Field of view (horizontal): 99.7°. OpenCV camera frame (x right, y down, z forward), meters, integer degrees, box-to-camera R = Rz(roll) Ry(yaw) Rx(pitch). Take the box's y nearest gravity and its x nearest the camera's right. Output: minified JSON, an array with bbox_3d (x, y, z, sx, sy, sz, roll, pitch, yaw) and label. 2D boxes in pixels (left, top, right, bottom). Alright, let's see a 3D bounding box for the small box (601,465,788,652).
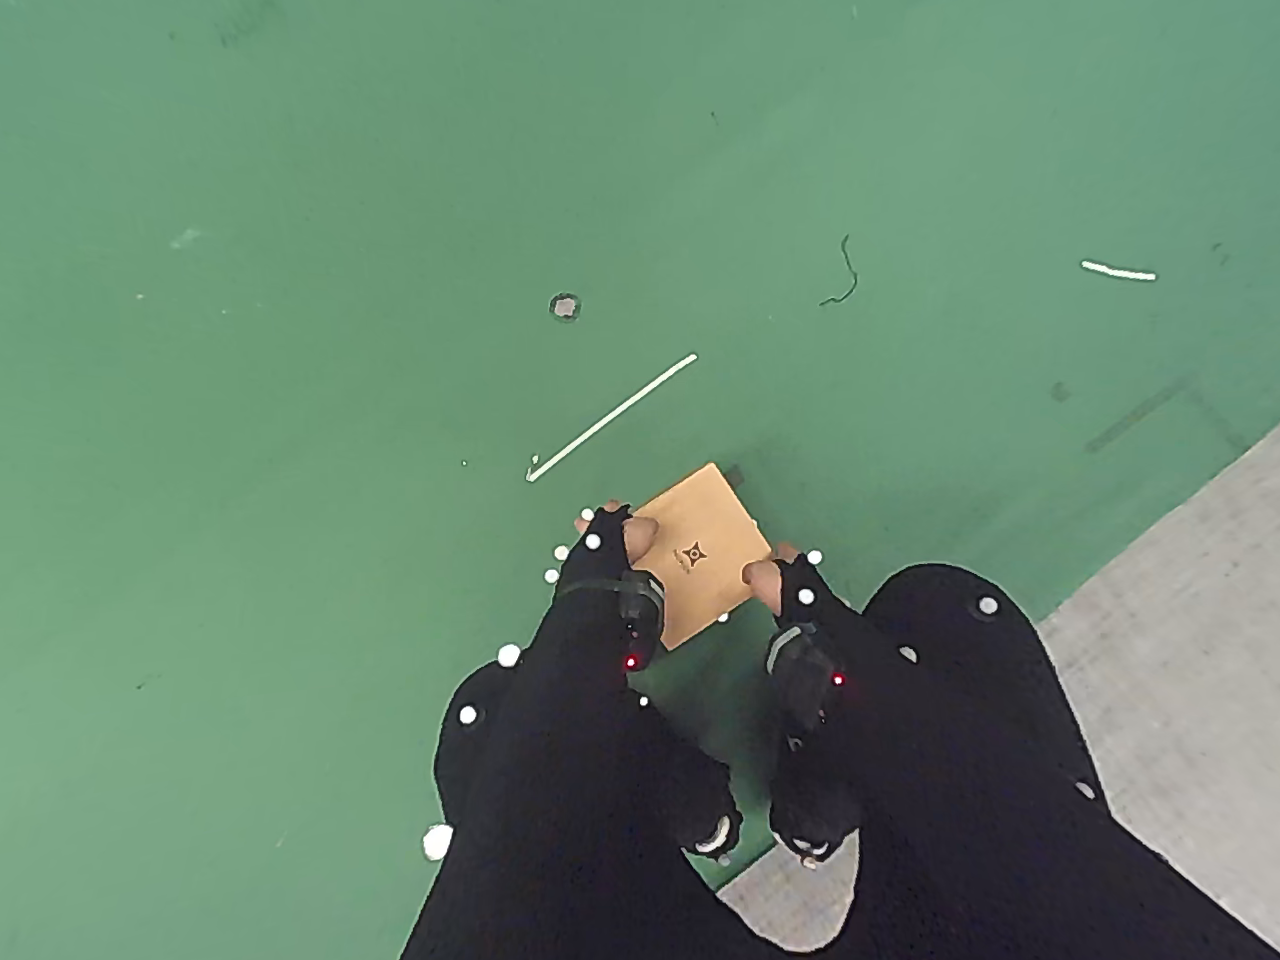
[{"bbox_3d":[0.063,0.095,0.730,0.179,0.176,0.168,-33,89,-2],"label":"small box"}]
